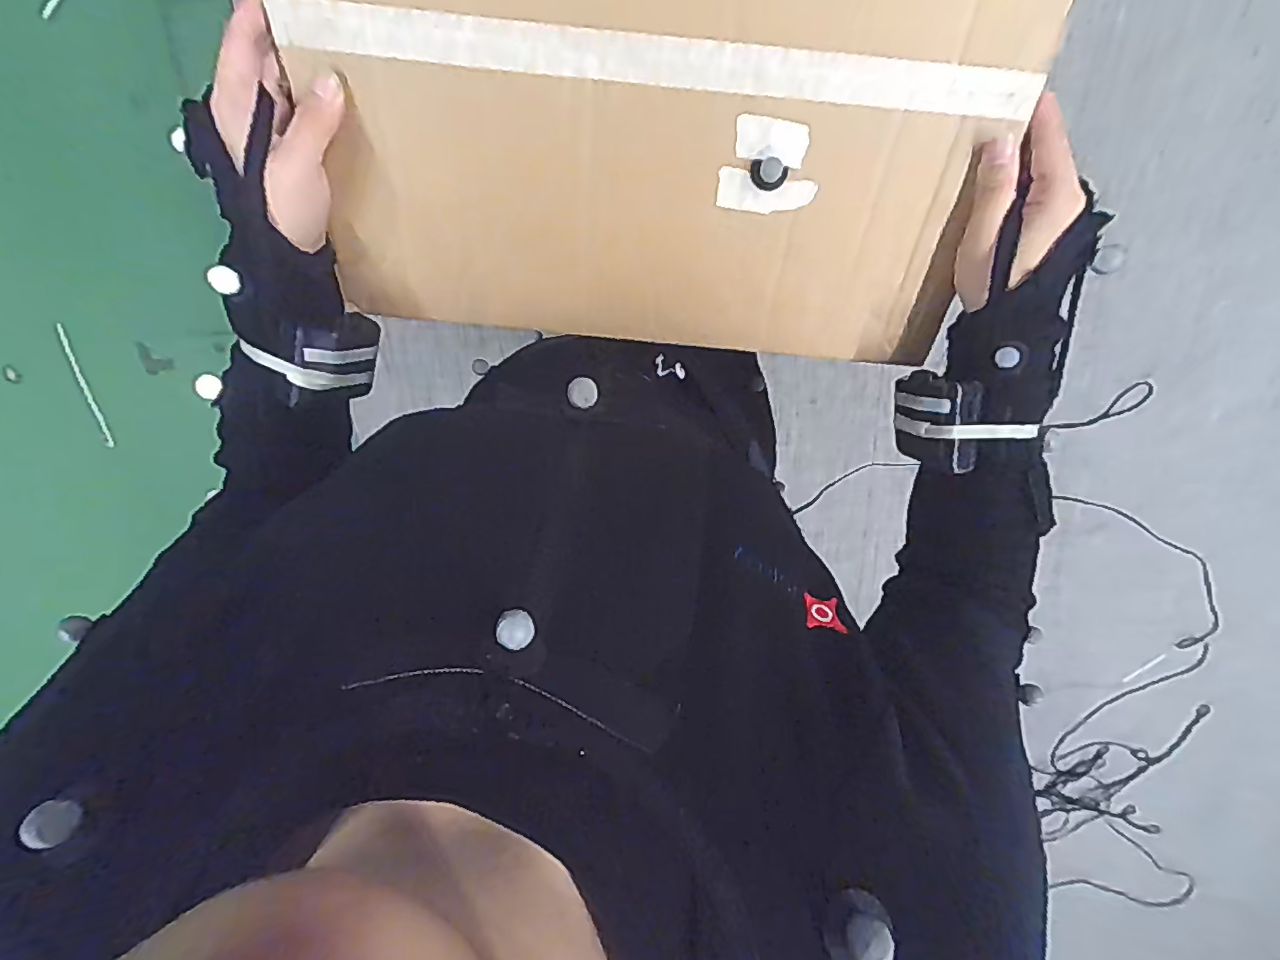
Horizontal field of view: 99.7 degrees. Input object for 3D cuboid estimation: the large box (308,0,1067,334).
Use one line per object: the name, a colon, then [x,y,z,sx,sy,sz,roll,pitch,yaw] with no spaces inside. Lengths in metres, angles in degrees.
large box: [0.021,-0.325,0.413,0.408,0.320,0.320,4,127,-2]
